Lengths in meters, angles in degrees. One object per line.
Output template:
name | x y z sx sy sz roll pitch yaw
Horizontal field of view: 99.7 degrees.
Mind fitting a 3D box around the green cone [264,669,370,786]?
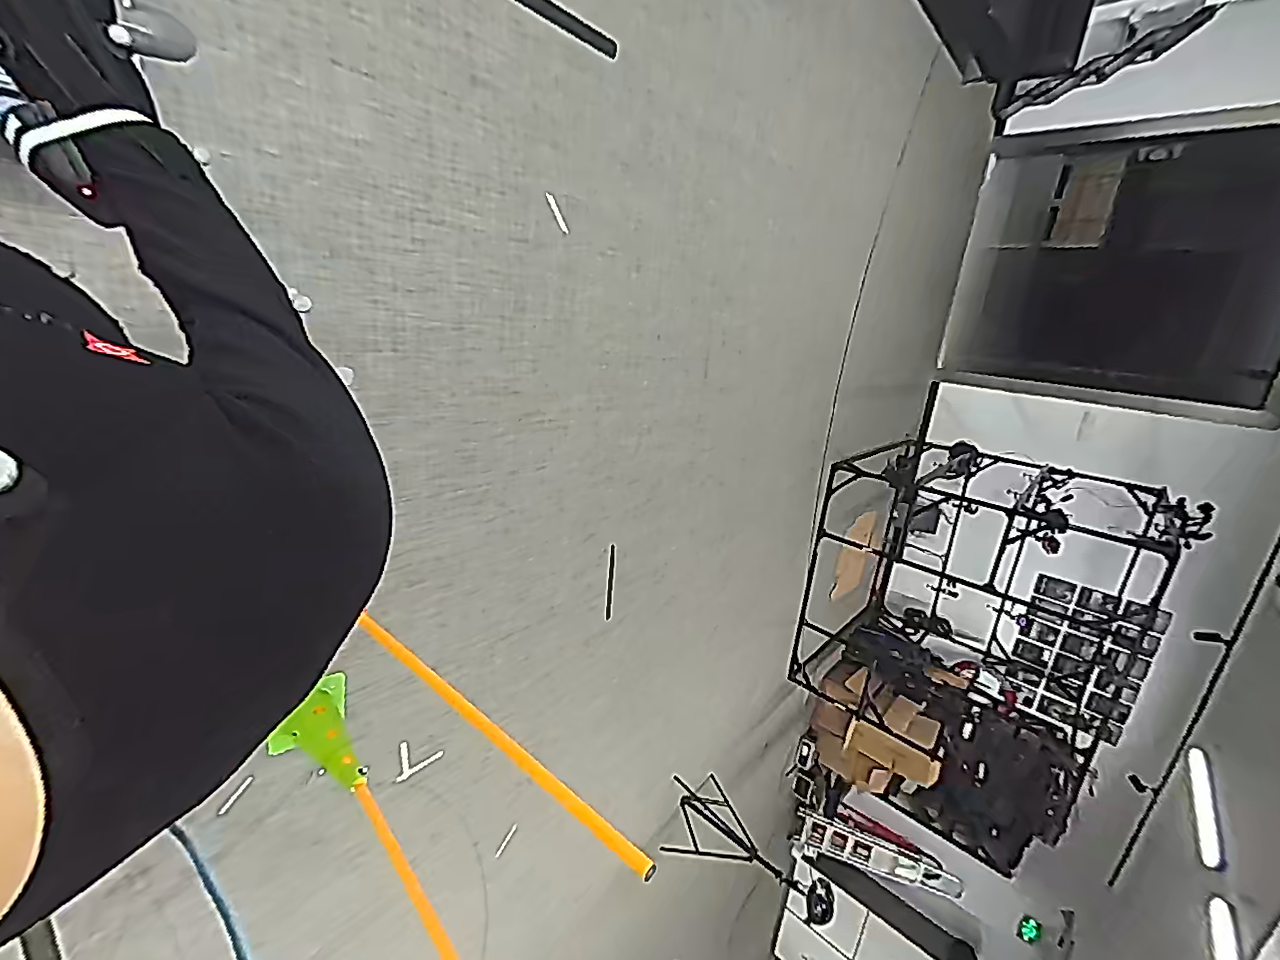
green cone | -0.837 0.708 1.458 0.202 0.368 0.200 -9 113 -50
